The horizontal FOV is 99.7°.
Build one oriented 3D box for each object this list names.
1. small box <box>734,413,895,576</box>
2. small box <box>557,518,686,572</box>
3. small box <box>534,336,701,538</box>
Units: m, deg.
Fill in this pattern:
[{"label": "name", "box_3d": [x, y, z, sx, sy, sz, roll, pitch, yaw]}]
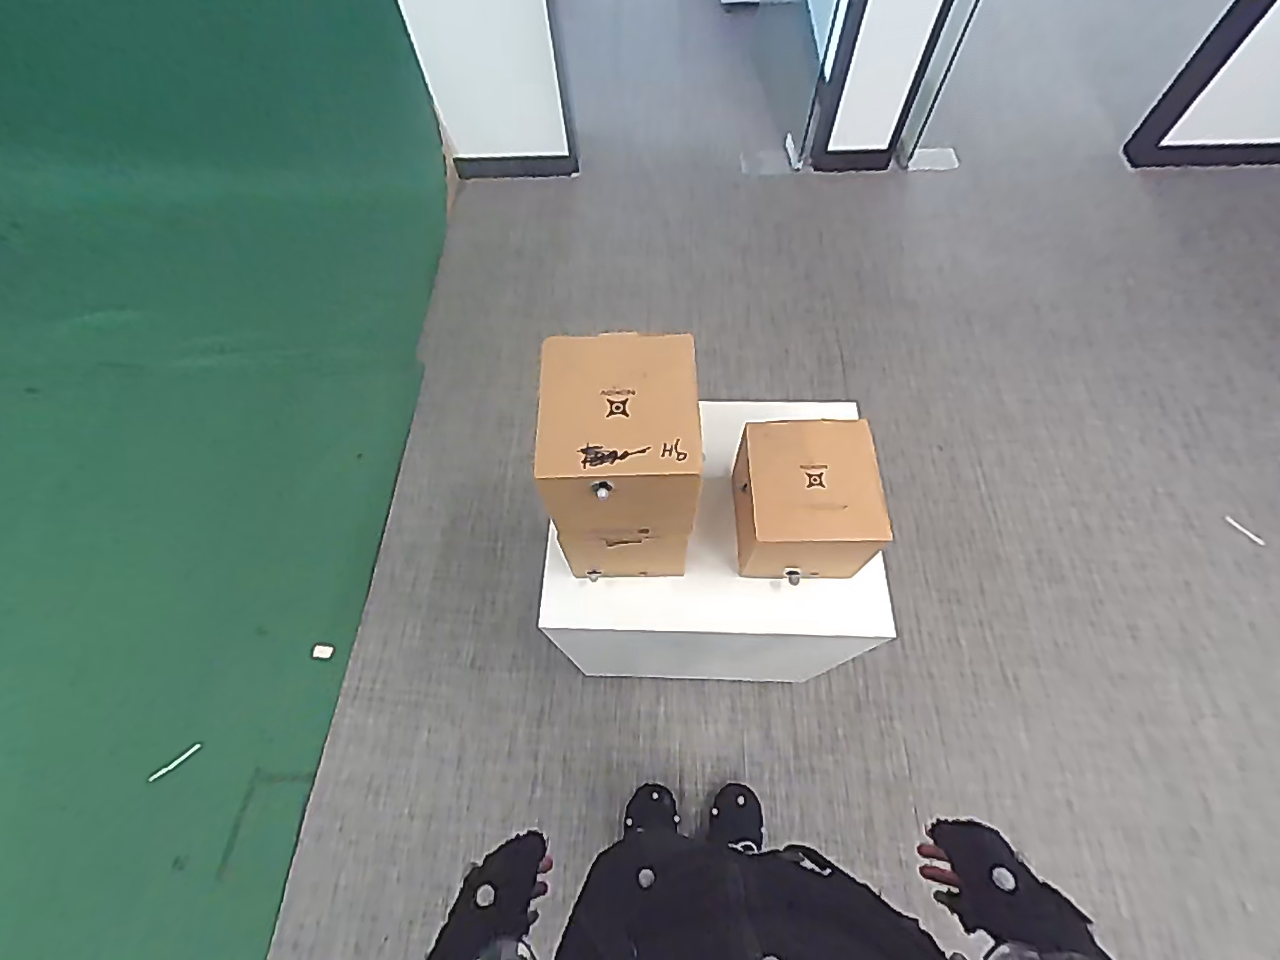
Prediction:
[{"label": "small box", "box_3d": [0.226, 0.025, 0.752, 0.168, 0.176, 0.179, -2, 65, 3]}, {"label": "small box", "box_3d": [-0.019, 0.029, 0.776, 0.168, 0.176, 0.179, -2, 62, 1]}, {"label": "small box", "box_3d": [-0.021, -0.044, 0.631, 0.168, 0.176, 0.179, -2, 63, 2]}]
